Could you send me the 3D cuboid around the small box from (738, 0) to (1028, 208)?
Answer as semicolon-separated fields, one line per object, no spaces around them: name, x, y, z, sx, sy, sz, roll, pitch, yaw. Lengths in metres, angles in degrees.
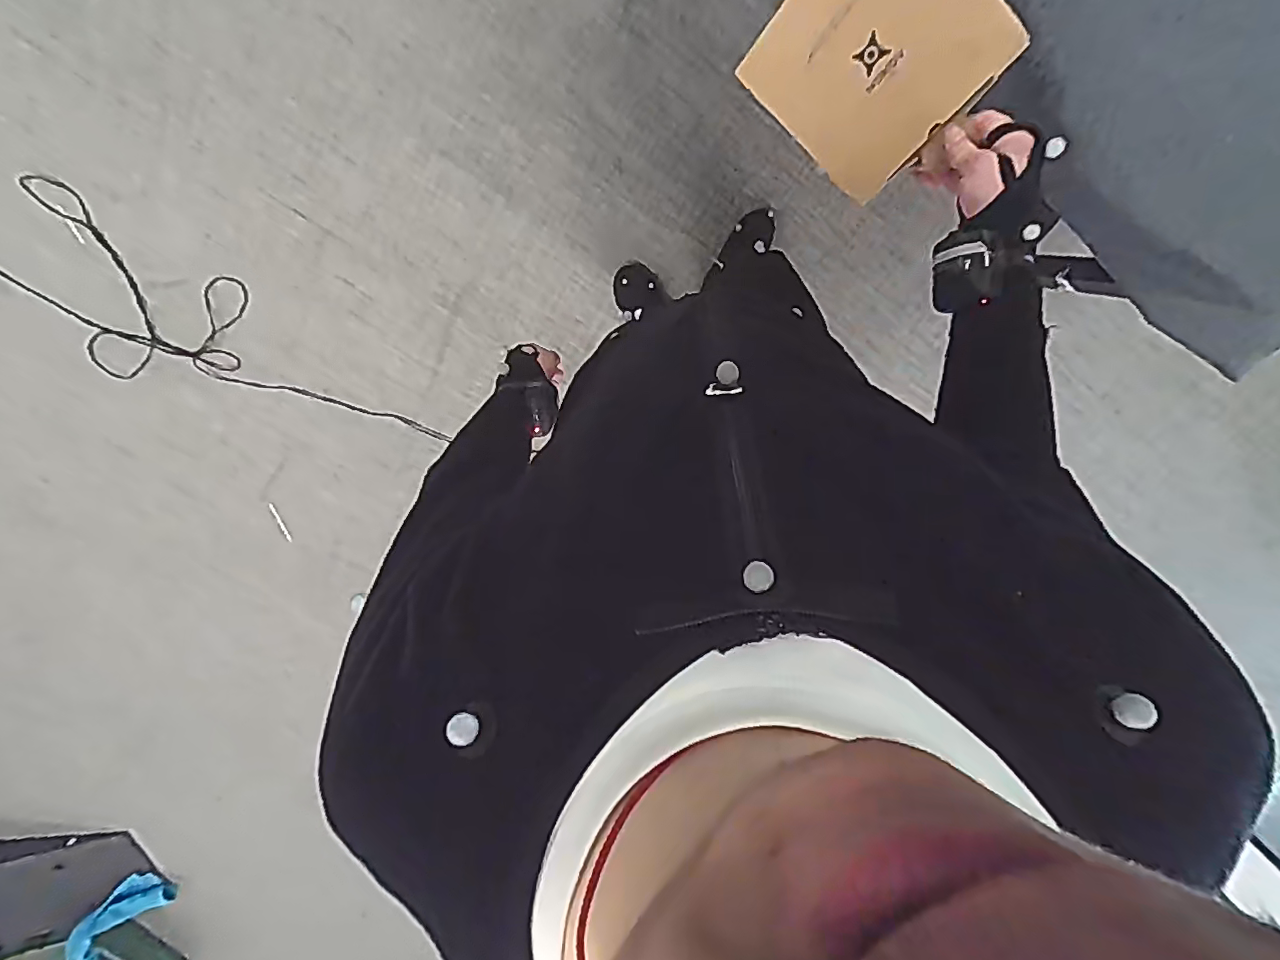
small box;0.219;-0.408;0.520;0.179;0.176;0.168;37;130;-15
